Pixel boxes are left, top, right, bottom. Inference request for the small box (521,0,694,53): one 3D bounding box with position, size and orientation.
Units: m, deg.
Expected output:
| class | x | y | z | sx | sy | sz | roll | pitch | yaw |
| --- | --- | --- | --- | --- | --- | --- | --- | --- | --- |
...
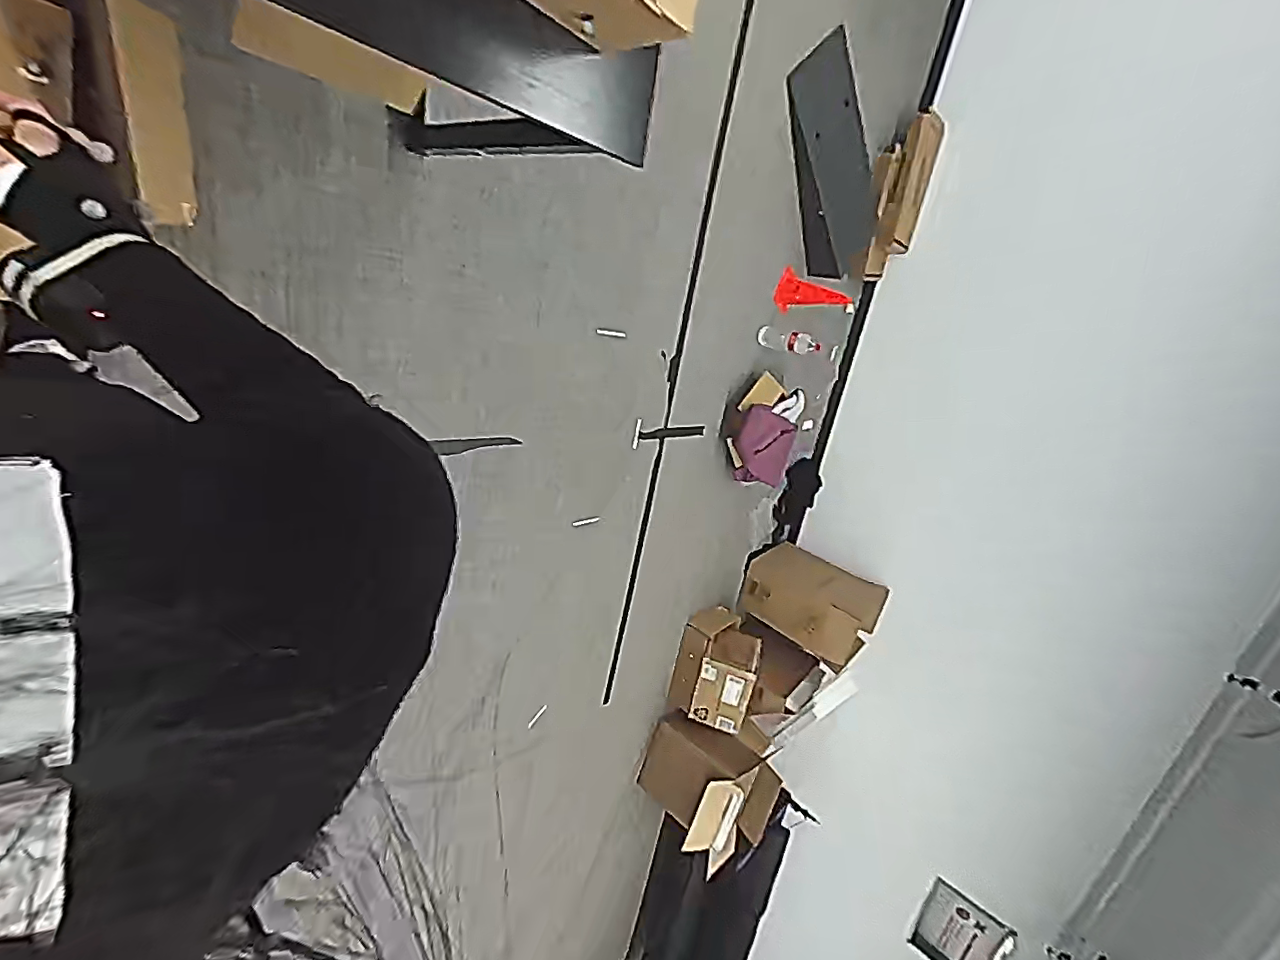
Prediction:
| class | x | y | z | sx | sy | sz | roll | pitch | yaw |
| --- | --- | --- | --- | --- | --- | --- | --- | --- | --- |
| small box | -0.037 | -0.677 | 0.673 | 0.168 | 0.176 | 0.179 | -9 | 116 | -49 |
